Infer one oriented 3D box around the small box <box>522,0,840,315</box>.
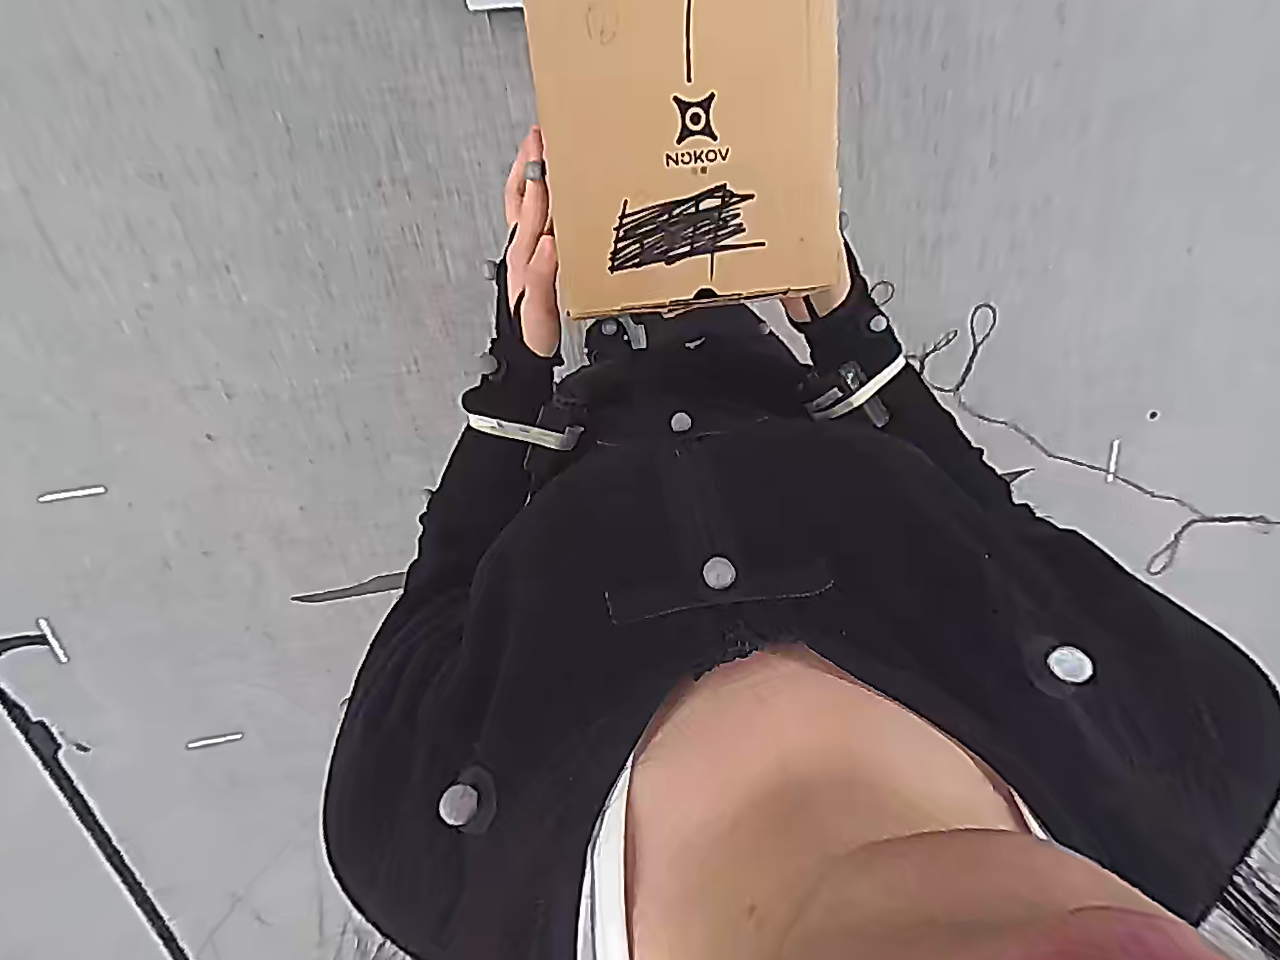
[{"bbox_3d":[0.021,-0.211,0.371,0.168,0.176,0.179,-8,106,-4],"label":"small box"}]
